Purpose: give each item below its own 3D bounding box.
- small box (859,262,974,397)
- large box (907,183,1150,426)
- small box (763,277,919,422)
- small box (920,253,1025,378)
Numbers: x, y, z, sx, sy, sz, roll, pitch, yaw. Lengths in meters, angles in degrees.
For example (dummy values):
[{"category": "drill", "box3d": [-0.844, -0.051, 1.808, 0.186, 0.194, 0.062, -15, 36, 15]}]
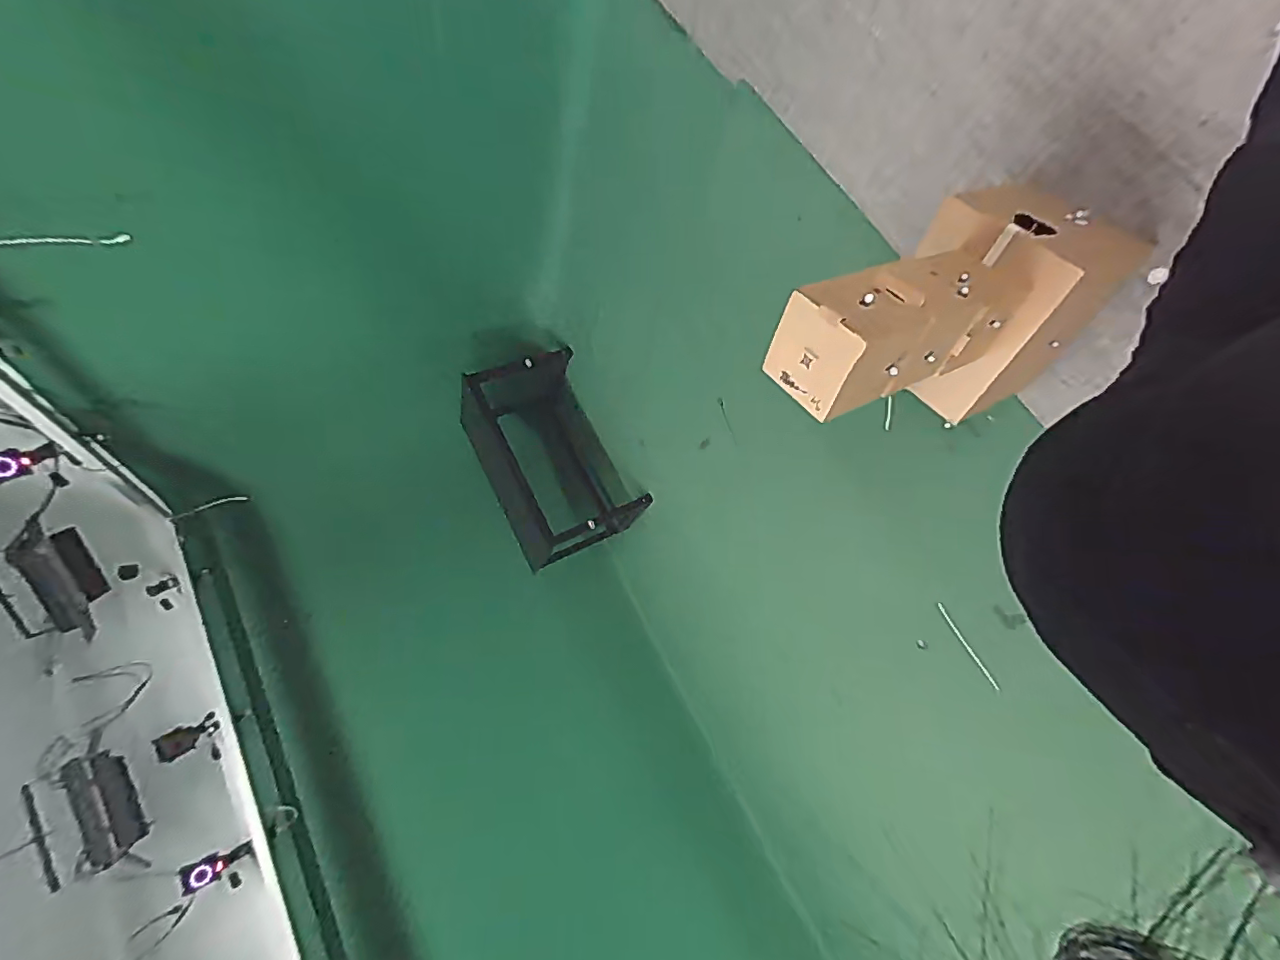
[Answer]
[{"category": "small box", "box3d": [0.494, -0.293, 1.032, 0.168, 0.176, 0.179, 52, 149, 29]}, {"category": "large box", "box3d": [0.819, -0.407, 1.255, 0.320, 0.320, 0.408, 53, 151, 29]}, {"category": "small box", "box3d": [0.357, -0.238, 0.961, 0.168, 0.176, 0.179, 52, 148, 28]}, {"category": "small box", "box3d": [0.631, -0.343, 1.108, 0.179, 0.176, 0.168, 52, 149, 28]}]
